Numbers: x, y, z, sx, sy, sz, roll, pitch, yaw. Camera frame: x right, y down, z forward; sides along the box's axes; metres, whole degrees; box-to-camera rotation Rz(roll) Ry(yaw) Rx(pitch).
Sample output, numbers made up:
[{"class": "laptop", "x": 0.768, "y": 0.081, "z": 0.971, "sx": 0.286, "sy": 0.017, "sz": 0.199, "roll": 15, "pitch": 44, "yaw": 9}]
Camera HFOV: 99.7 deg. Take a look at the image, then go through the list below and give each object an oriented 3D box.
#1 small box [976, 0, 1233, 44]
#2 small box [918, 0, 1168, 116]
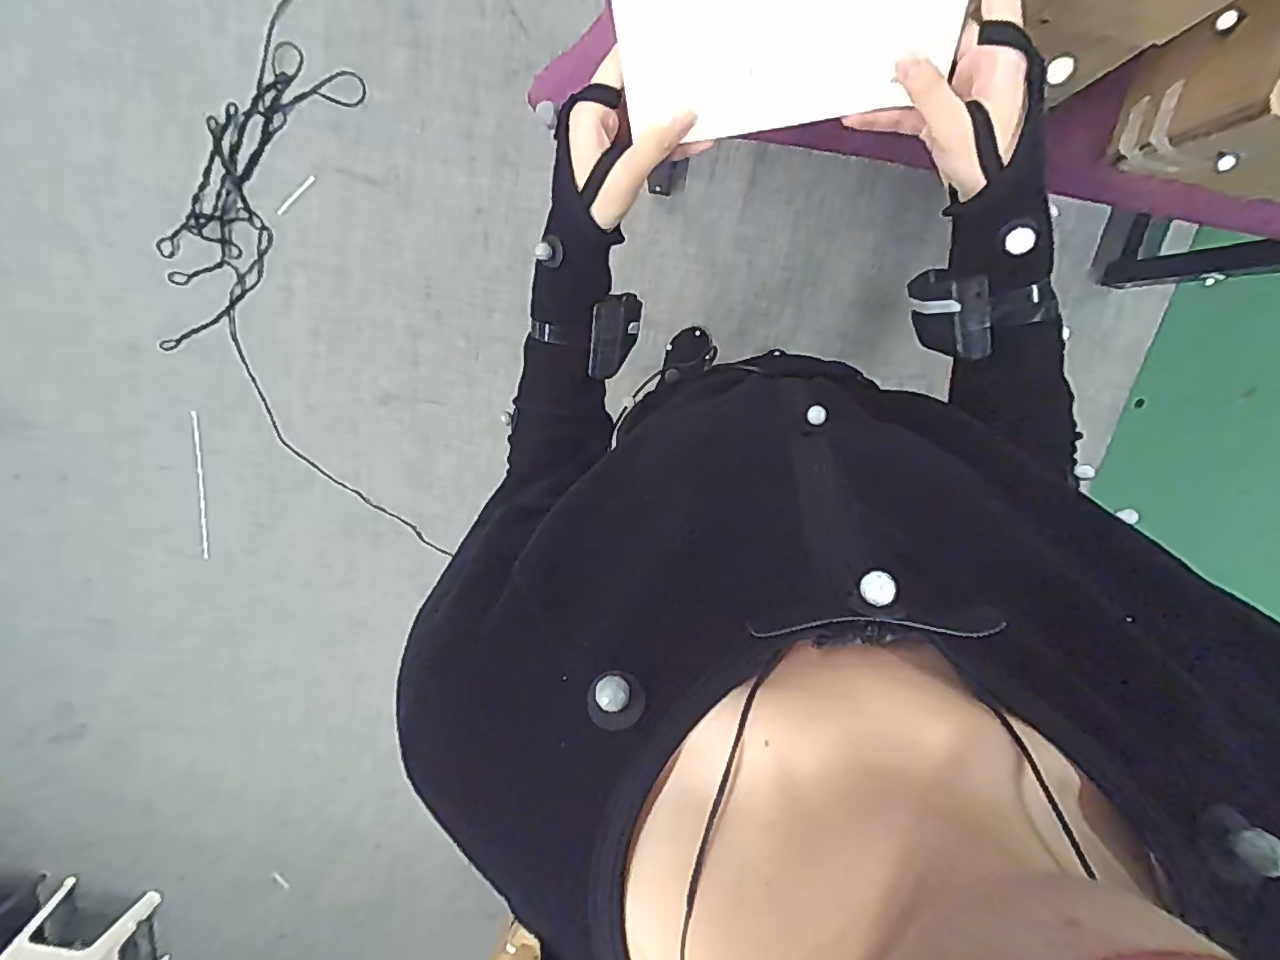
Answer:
[{"class": "small box", "x": 0.387, "y": -0.452, "z": 0.379, "sx": 0.179, "sy": 0.176, "sz": 0.168, "roll": 13, "pitch": 104, "yaw": 1}, {"class": "small box", "x": 0.406, "y": -0.499, "z": 0.535, "sx": 0.168, "sy": 0.176, "sz": 0.179, "roll": 12, "pitch": 103, "yaw": 1}]
